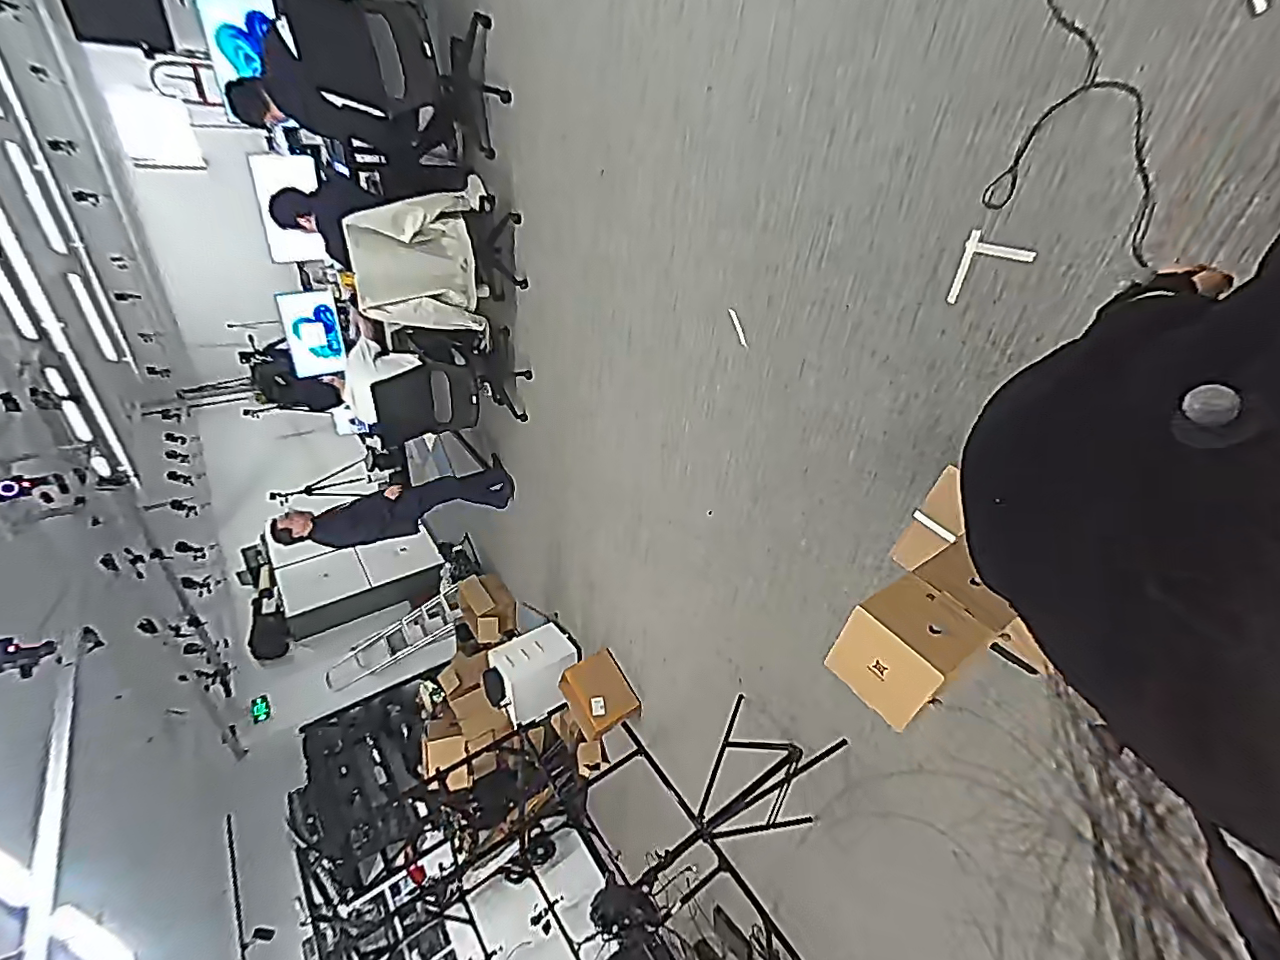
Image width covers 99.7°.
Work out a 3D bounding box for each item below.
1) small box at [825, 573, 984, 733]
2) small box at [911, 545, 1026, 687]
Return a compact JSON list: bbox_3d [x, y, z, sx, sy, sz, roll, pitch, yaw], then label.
[{"bbox_3d":[0.466,0.294,0.953,0.168,0.176,0.179,43,139,36],"label":"small box"},{"bbox_3d":[0.598,0.253,1.040,0.168,0.176,0.179,45,139,35],"label":"small box"}]
